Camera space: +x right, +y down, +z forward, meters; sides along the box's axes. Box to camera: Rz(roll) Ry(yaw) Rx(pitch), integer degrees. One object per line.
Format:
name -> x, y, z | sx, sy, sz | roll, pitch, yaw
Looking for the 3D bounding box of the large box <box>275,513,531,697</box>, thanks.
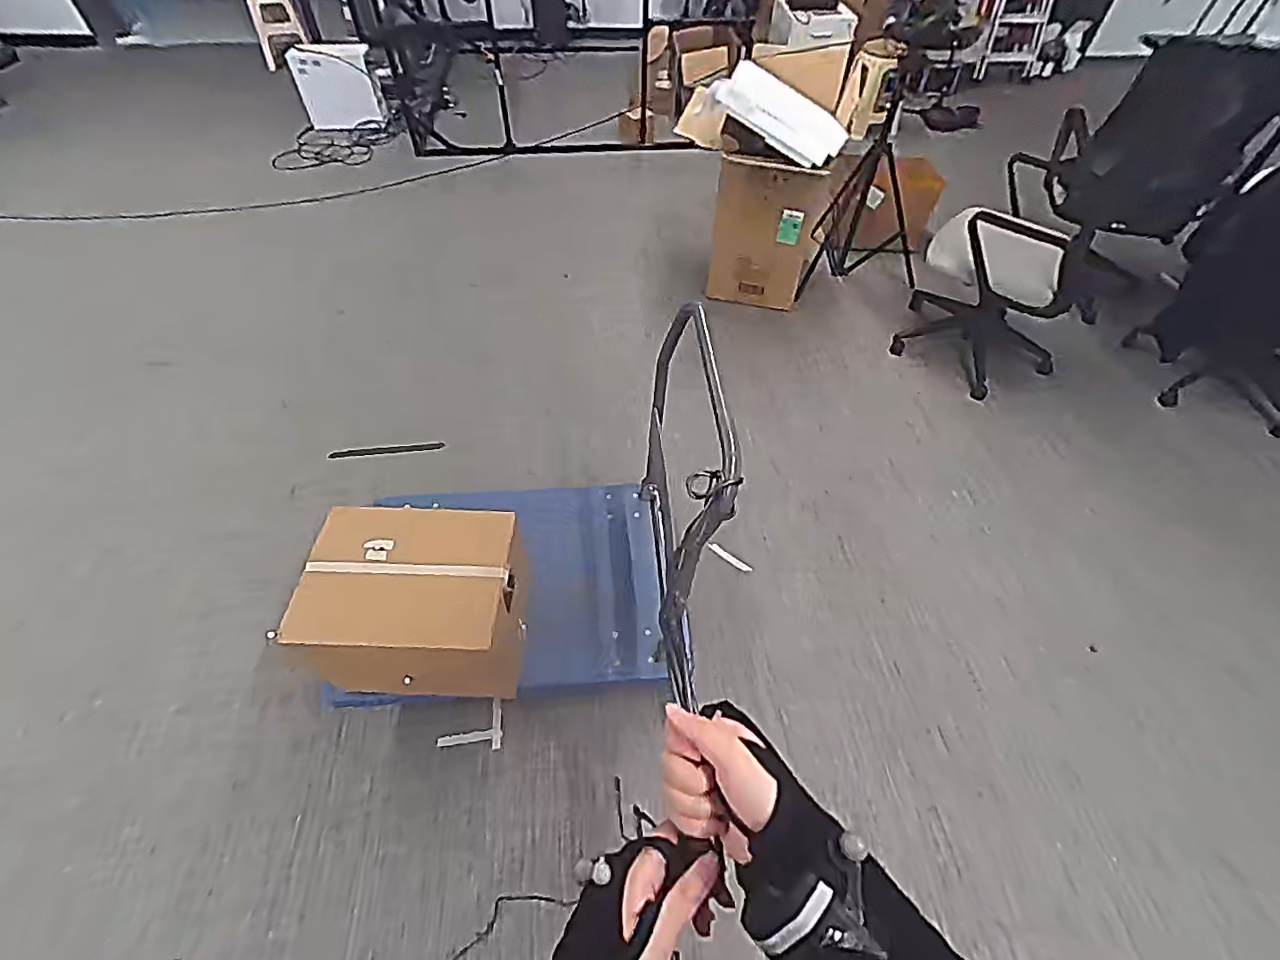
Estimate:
large box -> -0.478, 0.286, 1.208 | 0.408, 0.320, 0.320 | 2, 51, 0
